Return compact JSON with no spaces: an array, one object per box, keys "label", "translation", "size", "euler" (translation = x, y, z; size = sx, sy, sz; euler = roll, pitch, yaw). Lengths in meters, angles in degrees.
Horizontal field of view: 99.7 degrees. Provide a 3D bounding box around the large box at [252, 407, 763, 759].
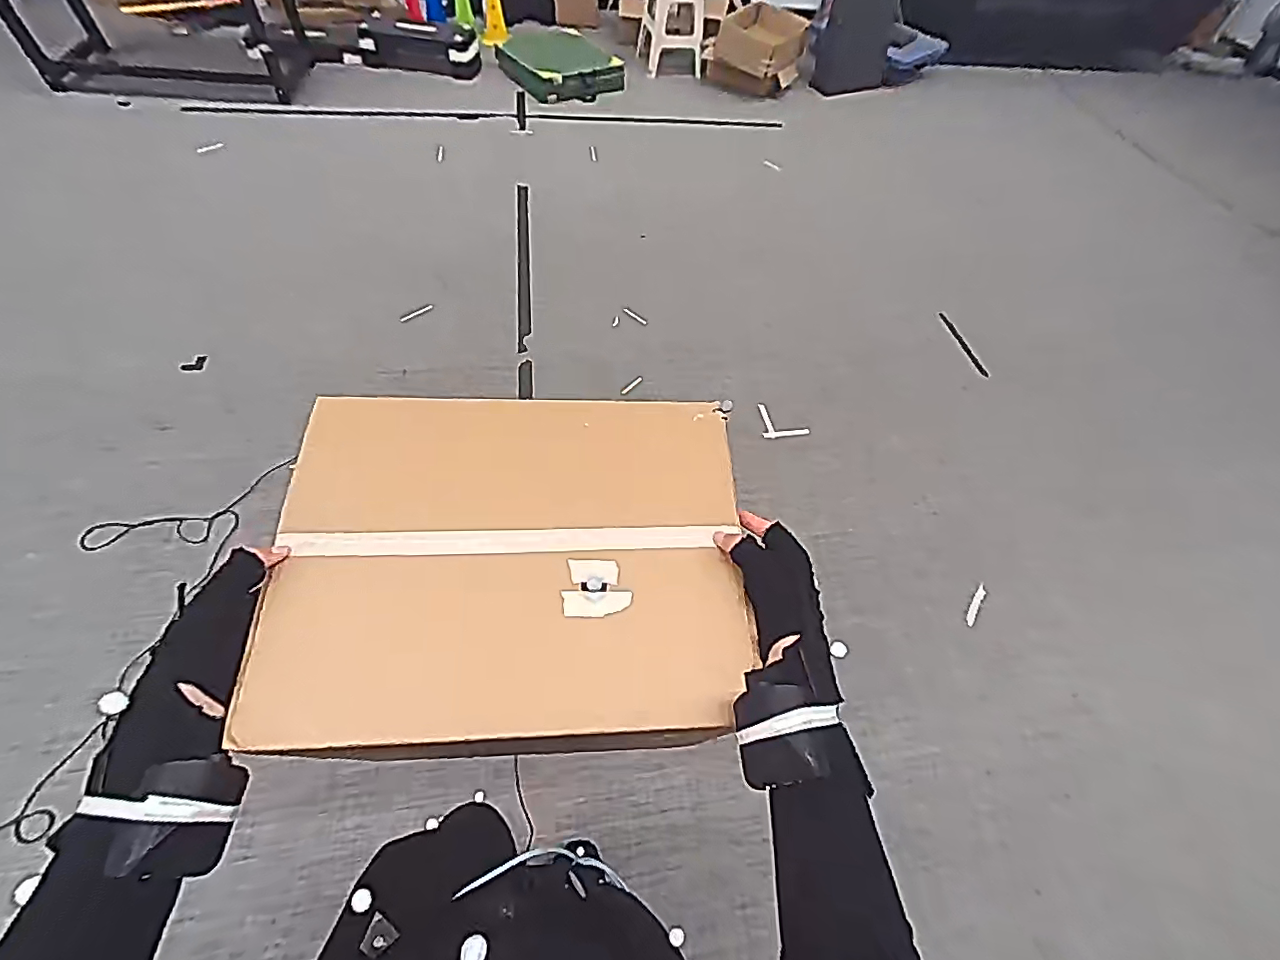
[{"label":"large box","translation":[-0.120,0.130,0.622],"size":[0.408,0.320,0.320],"euler":[0,62,-7]}]
